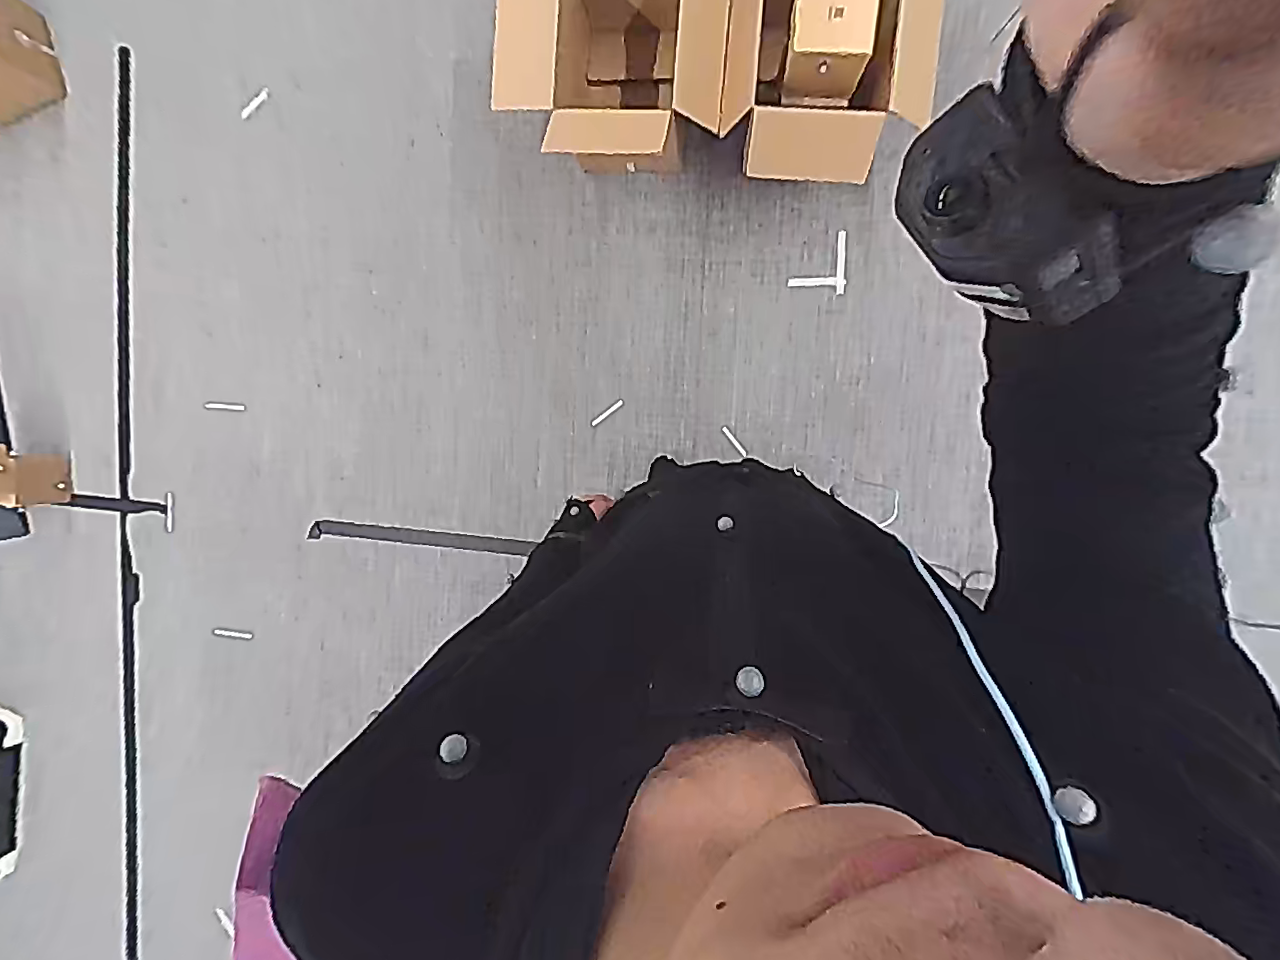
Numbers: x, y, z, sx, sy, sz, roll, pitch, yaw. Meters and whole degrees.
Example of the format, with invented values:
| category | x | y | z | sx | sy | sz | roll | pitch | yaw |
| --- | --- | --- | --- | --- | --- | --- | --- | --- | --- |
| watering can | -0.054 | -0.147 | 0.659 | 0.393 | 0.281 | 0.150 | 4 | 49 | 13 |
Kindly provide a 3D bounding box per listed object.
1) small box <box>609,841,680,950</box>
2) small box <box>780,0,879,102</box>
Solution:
| category | x | y | z | sx | sy | sz | roll | pitch | yaw |
| --- | --- | --- | --- | --- | --- | --- | --- | --- | --- |
| small box | 0.017 | 1.155 | 1.516 | 0.179 | 0.176 | 0.168 | 2 | 94 | 11 |
| small box | 0.437 | -1.019 | 1.262 | 0.179 | 0.176 | 0.168 | 6 | 96 | 6 |
